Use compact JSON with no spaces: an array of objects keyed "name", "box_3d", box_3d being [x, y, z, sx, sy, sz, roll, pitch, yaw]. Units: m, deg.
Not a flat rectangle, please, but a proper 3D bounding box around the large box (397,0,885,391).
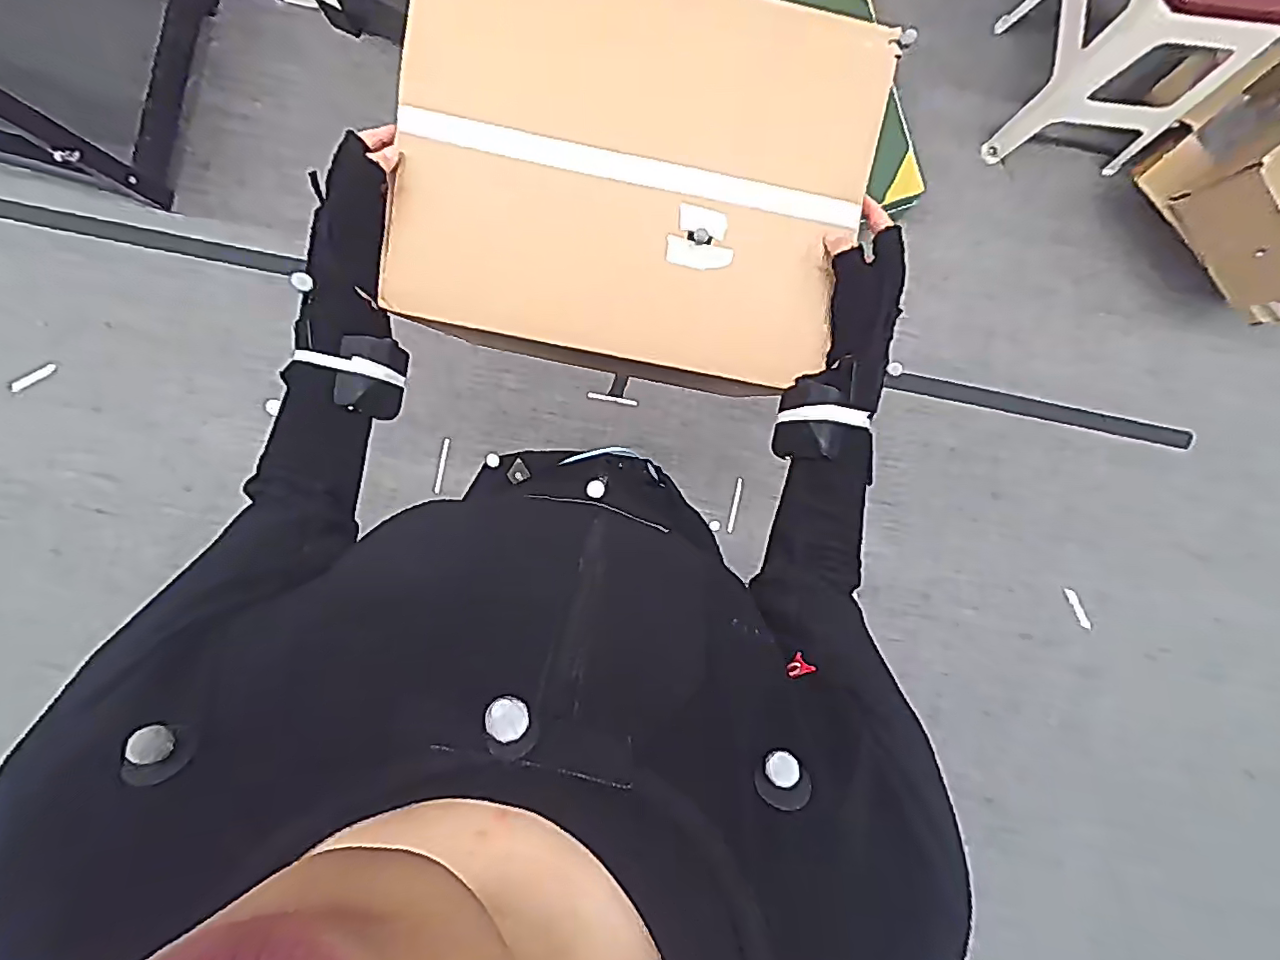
[{"name":"large box","box_3d":[-0.011,-0.292,0.632,0.408,0.320,0.320,10,99,-4]}]
